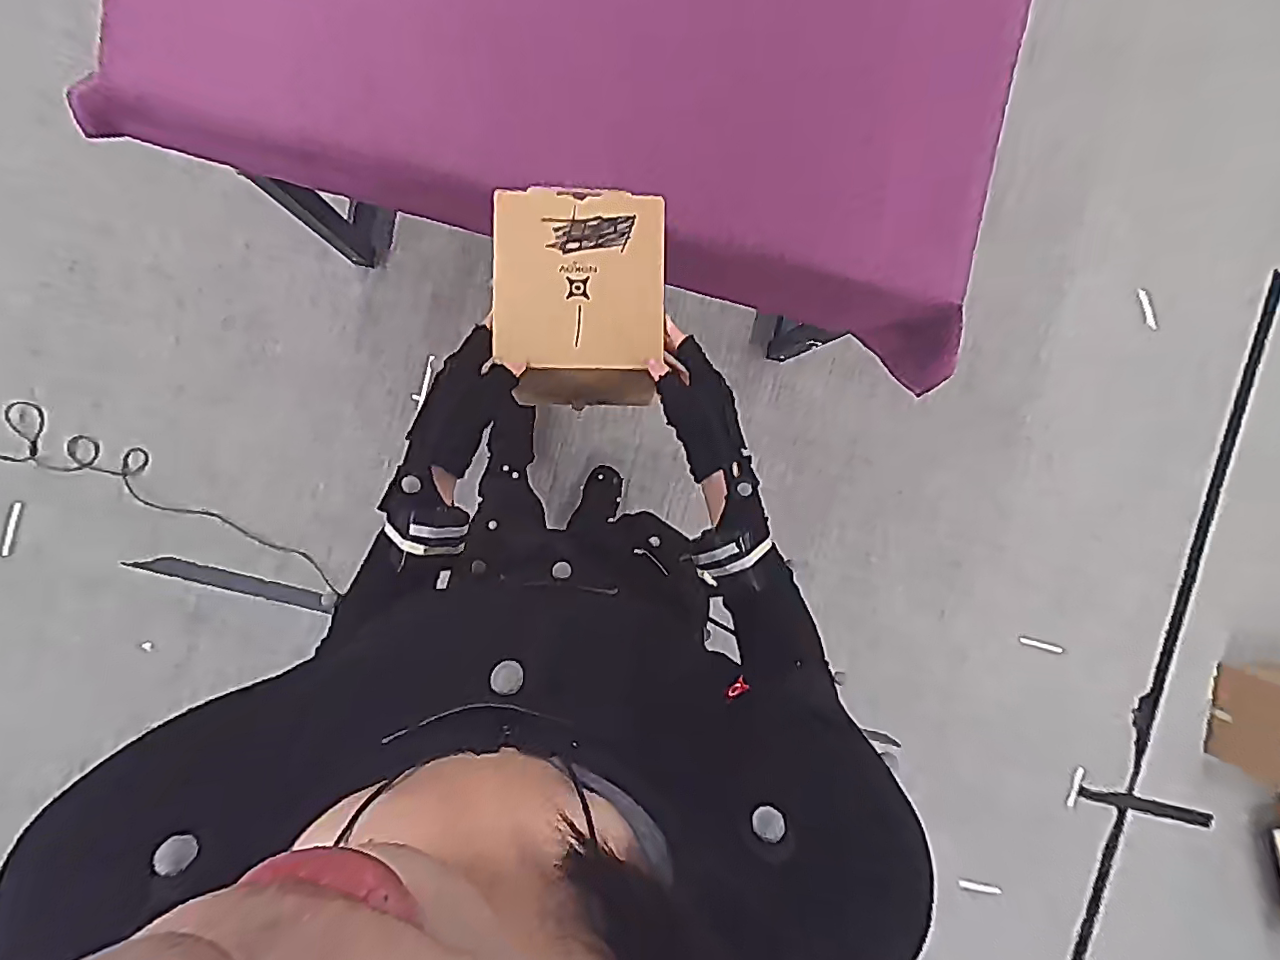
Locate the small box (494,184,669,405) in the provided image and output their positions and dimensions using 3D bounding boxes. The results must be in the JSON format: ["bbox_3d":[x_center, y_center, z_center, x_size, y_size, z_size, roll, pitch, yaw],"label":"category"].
[{"bbox_3d":[-0.060,-0.191,0.598,0.168,0.176,0.179,1,85,-4],"label":"small box"}]
